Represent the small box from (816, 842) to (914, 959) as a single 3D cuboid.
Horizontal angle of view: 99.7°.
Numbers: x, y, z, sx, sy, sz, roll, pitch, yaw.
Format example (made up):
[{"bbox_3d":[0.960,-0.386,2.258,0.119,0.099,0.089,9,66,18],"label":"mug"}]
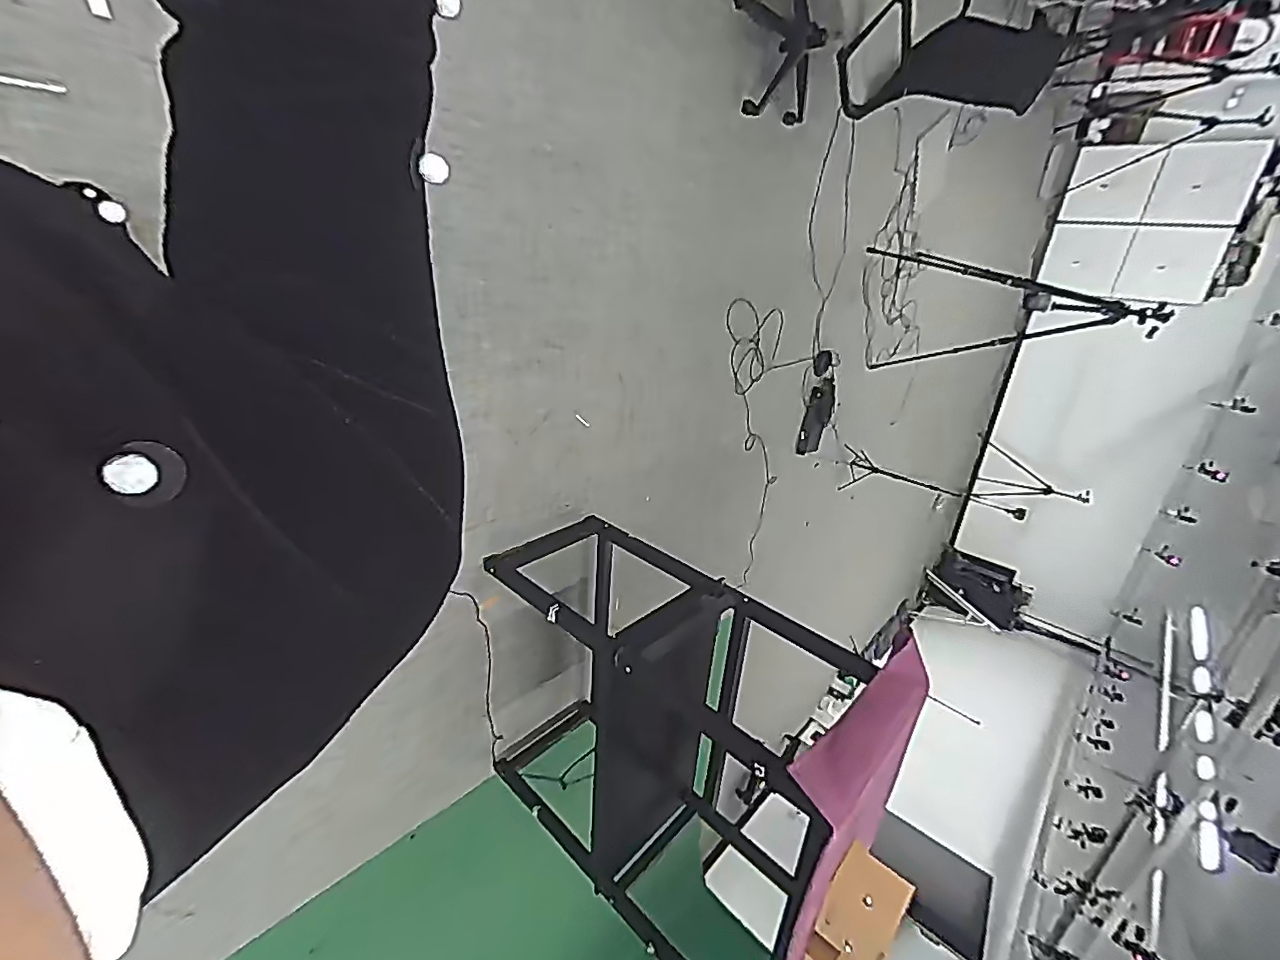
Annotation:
[{"bbox_3d":[0.580,1.104,1.402,0.179,0.176,0.168,-18,122,-46],"label":"small box"}]
